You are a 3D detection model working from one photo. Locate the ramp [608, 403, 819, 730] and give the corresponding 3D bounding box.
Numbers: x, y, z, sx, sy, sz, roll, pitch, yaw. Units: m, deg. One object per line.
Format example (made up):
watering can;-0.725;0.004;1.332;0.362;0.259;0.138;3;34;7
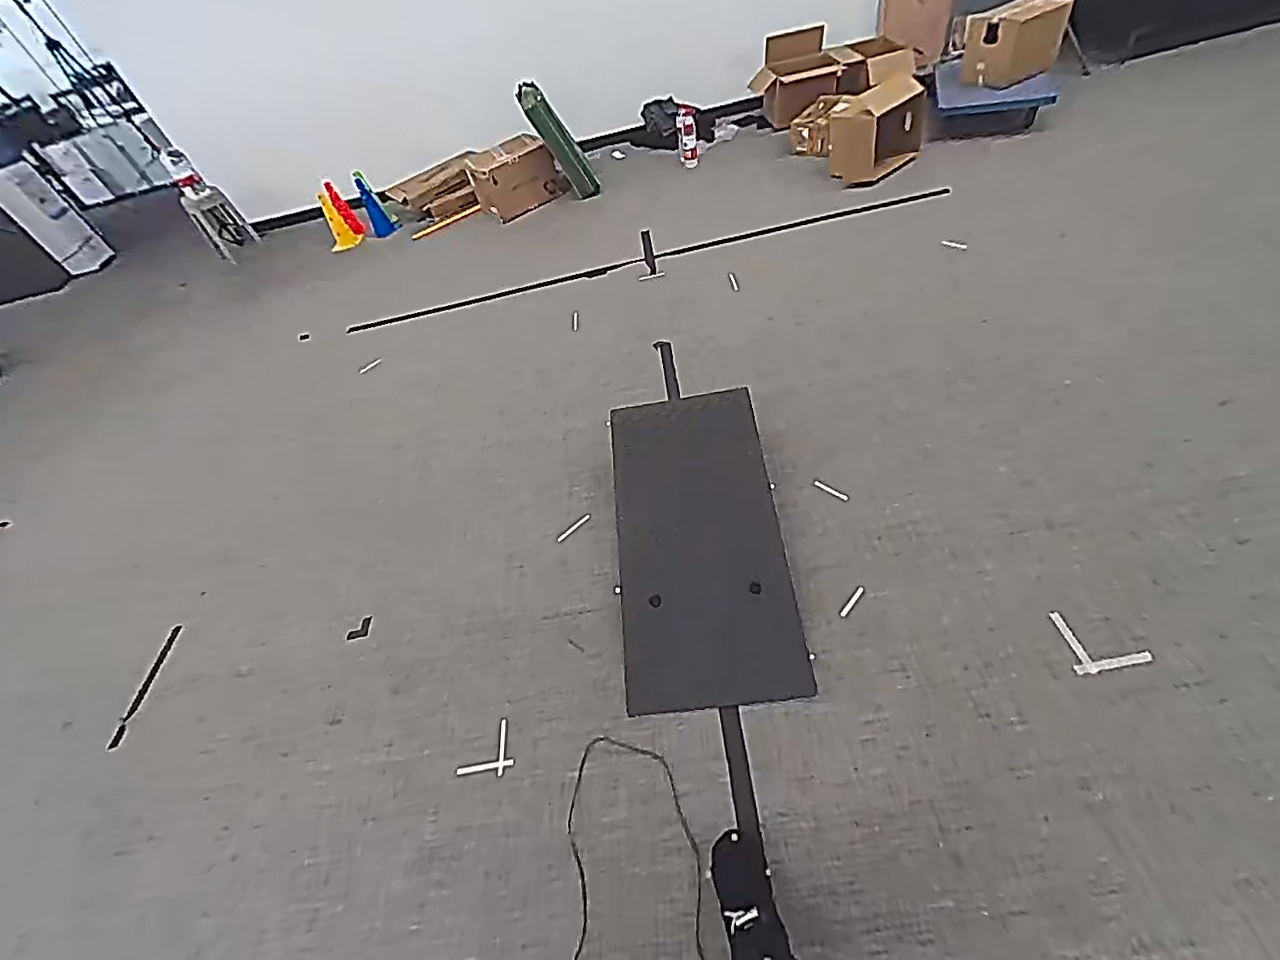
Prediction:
ramp;0.174;0.195;1.653;0.509;0.206;0.991;-11;47;4
